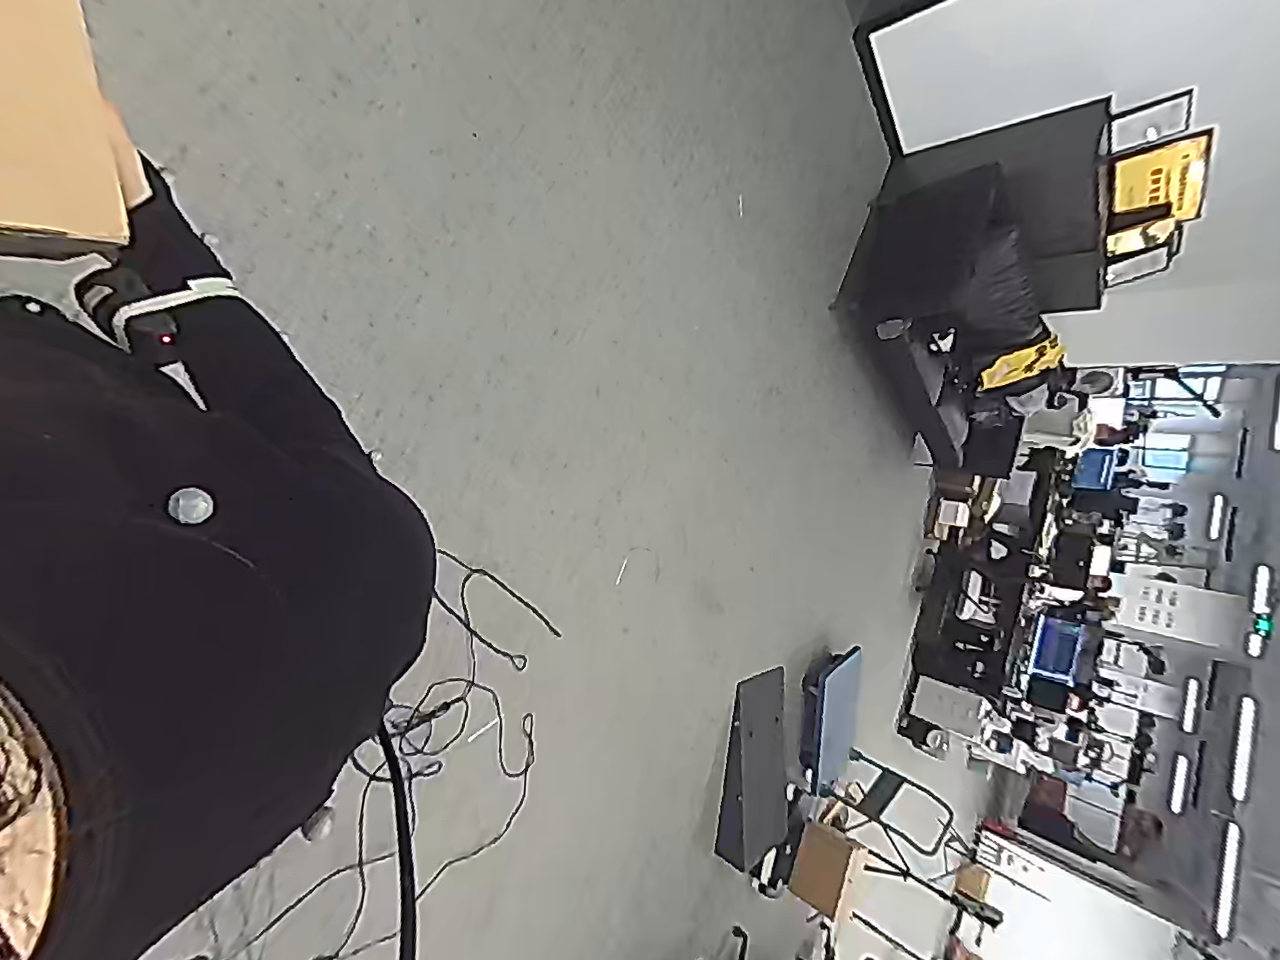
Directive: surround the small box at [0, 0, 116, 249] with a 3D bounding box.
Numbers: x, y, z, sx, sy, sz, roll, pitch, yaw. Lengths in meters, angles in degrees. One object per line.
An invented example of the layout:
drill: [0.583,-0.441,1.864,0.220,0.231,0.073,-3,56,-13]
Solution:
small box: [-0.453,-0.242,0.308,0.168,0.176,0.179,-21,116,-55]
